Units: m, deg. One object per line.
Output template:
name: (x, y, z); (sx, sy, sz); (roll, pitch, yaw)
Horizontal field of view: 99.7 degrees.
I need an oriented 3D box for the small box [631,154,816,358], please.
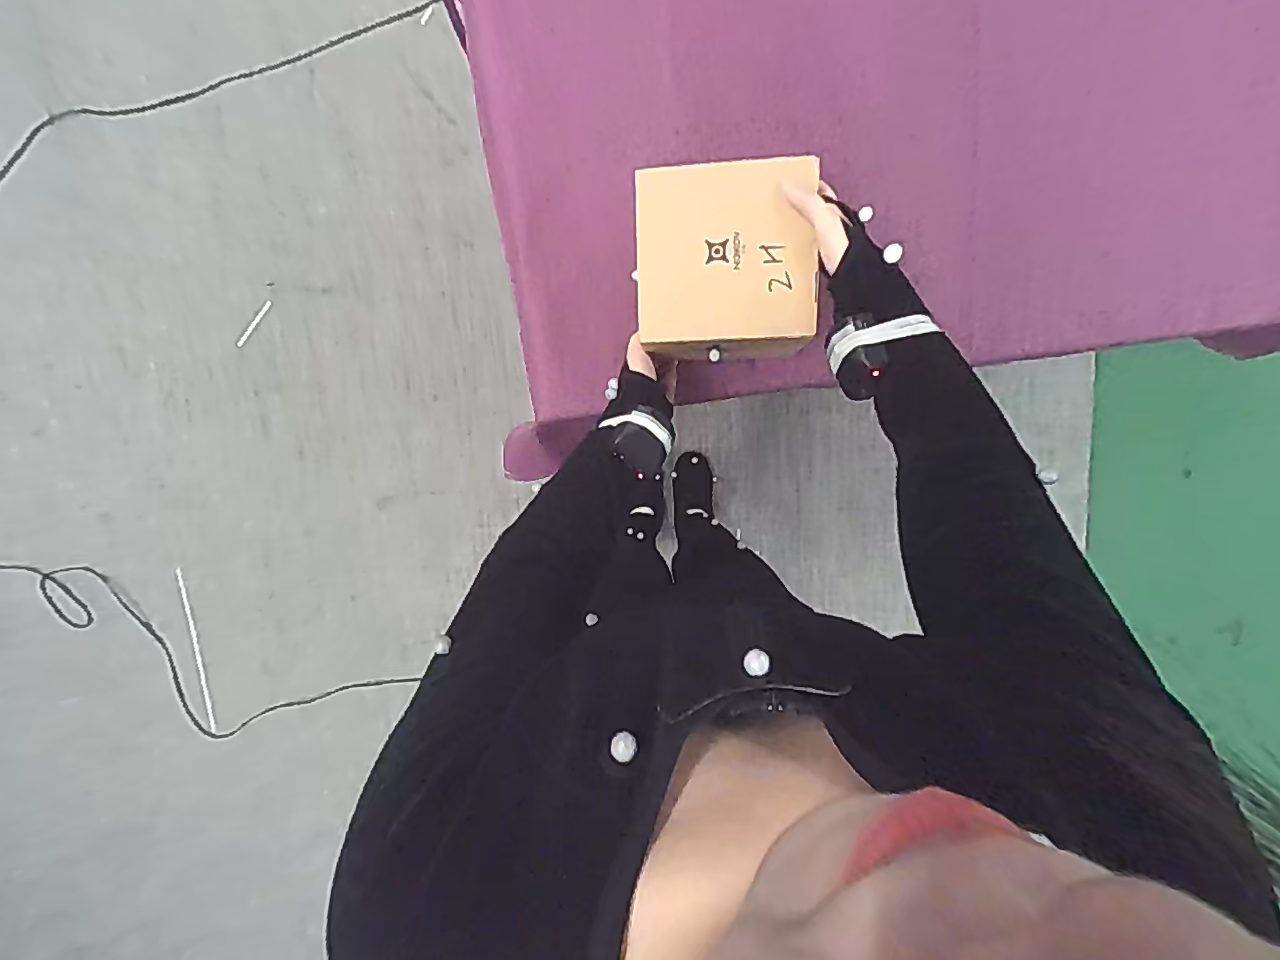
small box: (0.089, -0.230, 0.600); (0.179, 0.176, 0.168); (0, 96, 7)
